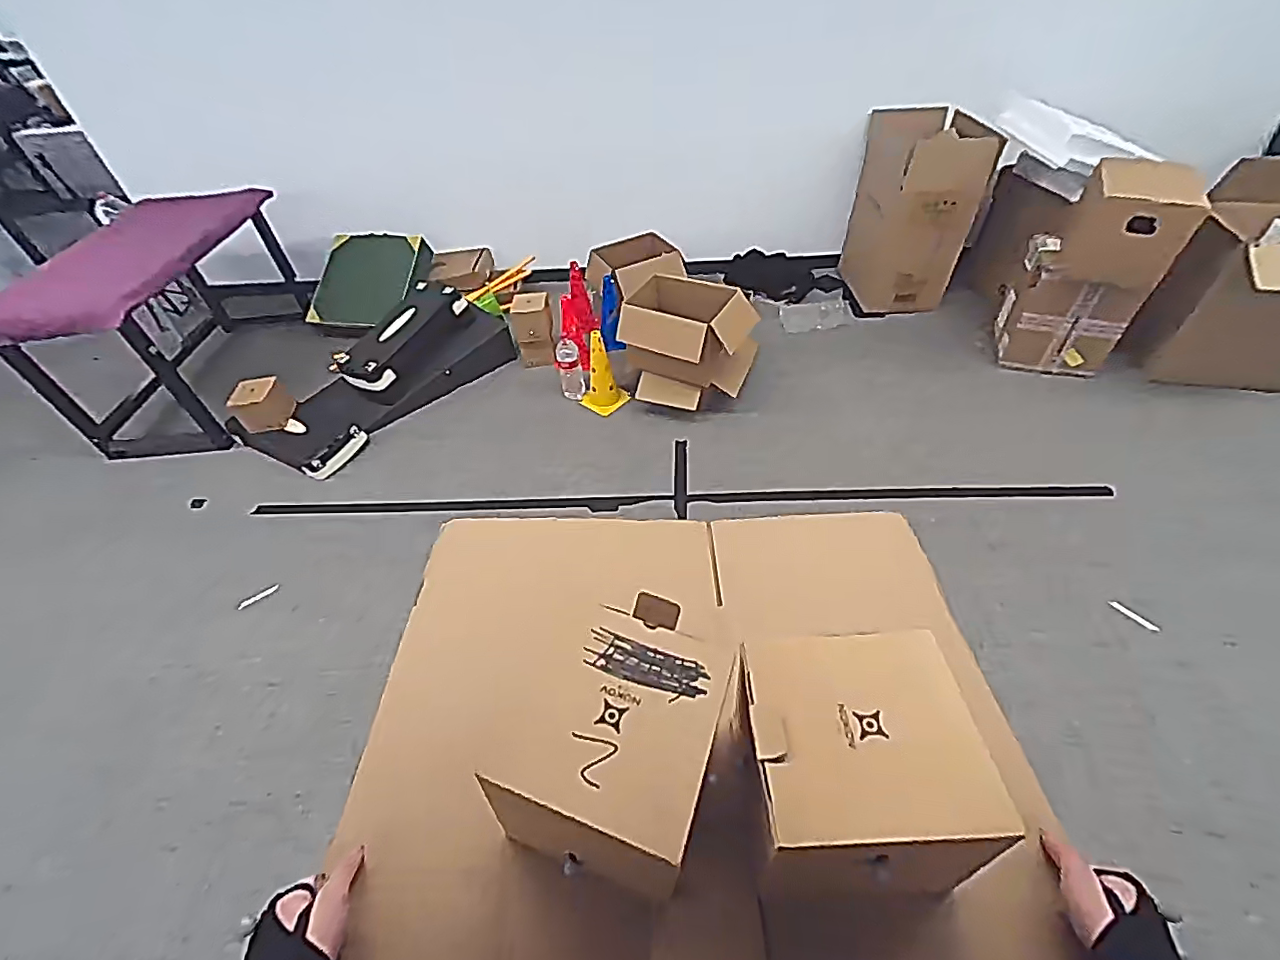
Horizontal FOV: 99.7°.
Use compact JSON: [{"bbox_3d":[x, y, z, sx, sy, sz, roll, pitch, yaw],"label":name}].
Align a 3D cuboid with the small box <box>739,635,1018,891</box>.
[{"bbox_3d":[0.193,0.265,0.504,0.179,0.176,0.168,-5,42,2],"label":"small box"}]
